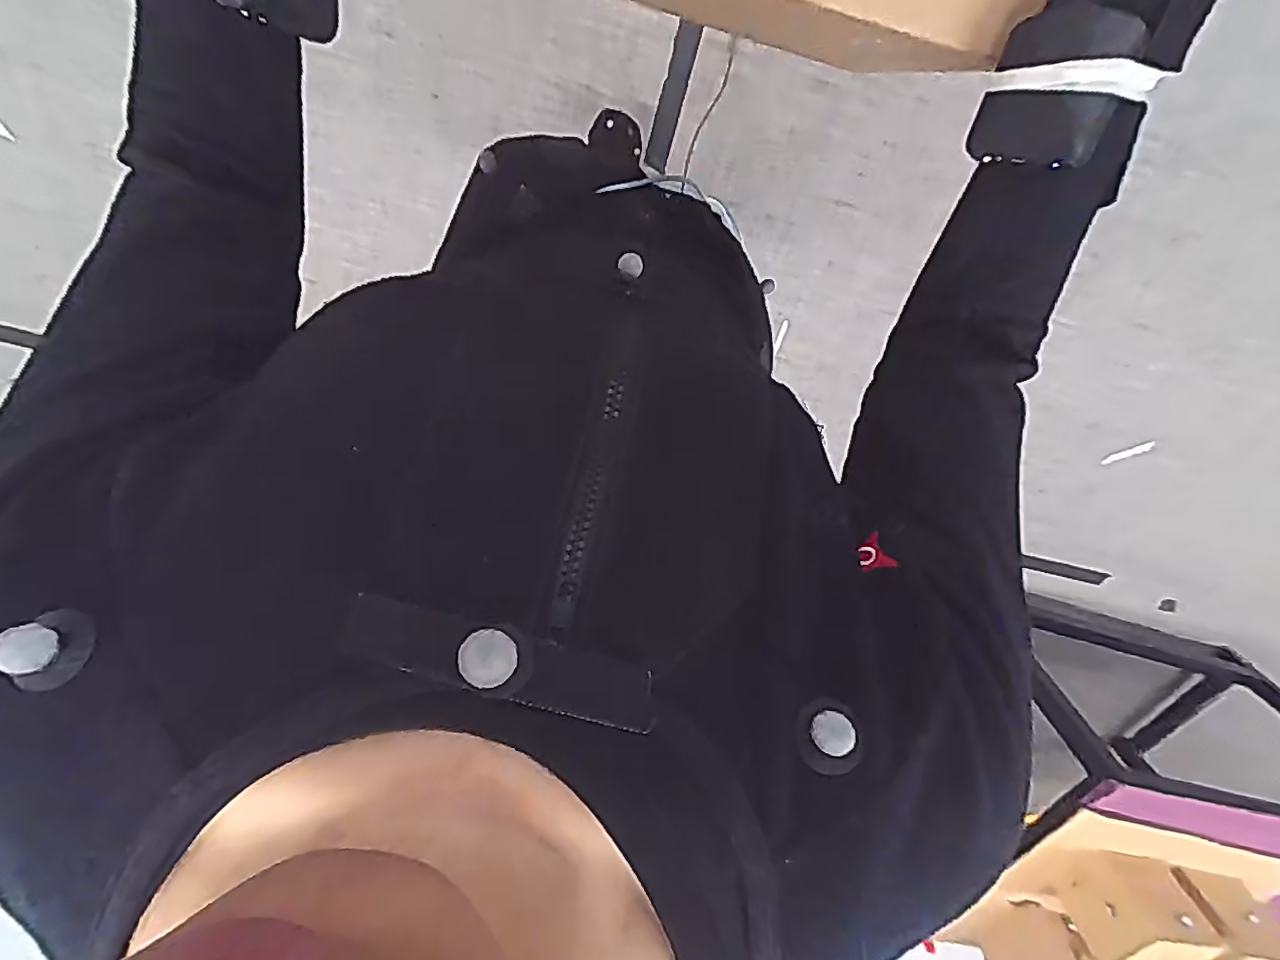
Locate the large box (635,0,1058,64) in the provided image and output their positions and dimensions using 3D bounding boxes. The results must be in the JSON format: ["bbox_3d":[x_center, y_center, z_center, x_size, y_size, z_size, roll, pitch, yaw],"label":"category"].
[{"bbox_3d":[0.066,-0.487,0.320,0.408,0.320,0.320,11,128,-7],"label":"large box"}]
